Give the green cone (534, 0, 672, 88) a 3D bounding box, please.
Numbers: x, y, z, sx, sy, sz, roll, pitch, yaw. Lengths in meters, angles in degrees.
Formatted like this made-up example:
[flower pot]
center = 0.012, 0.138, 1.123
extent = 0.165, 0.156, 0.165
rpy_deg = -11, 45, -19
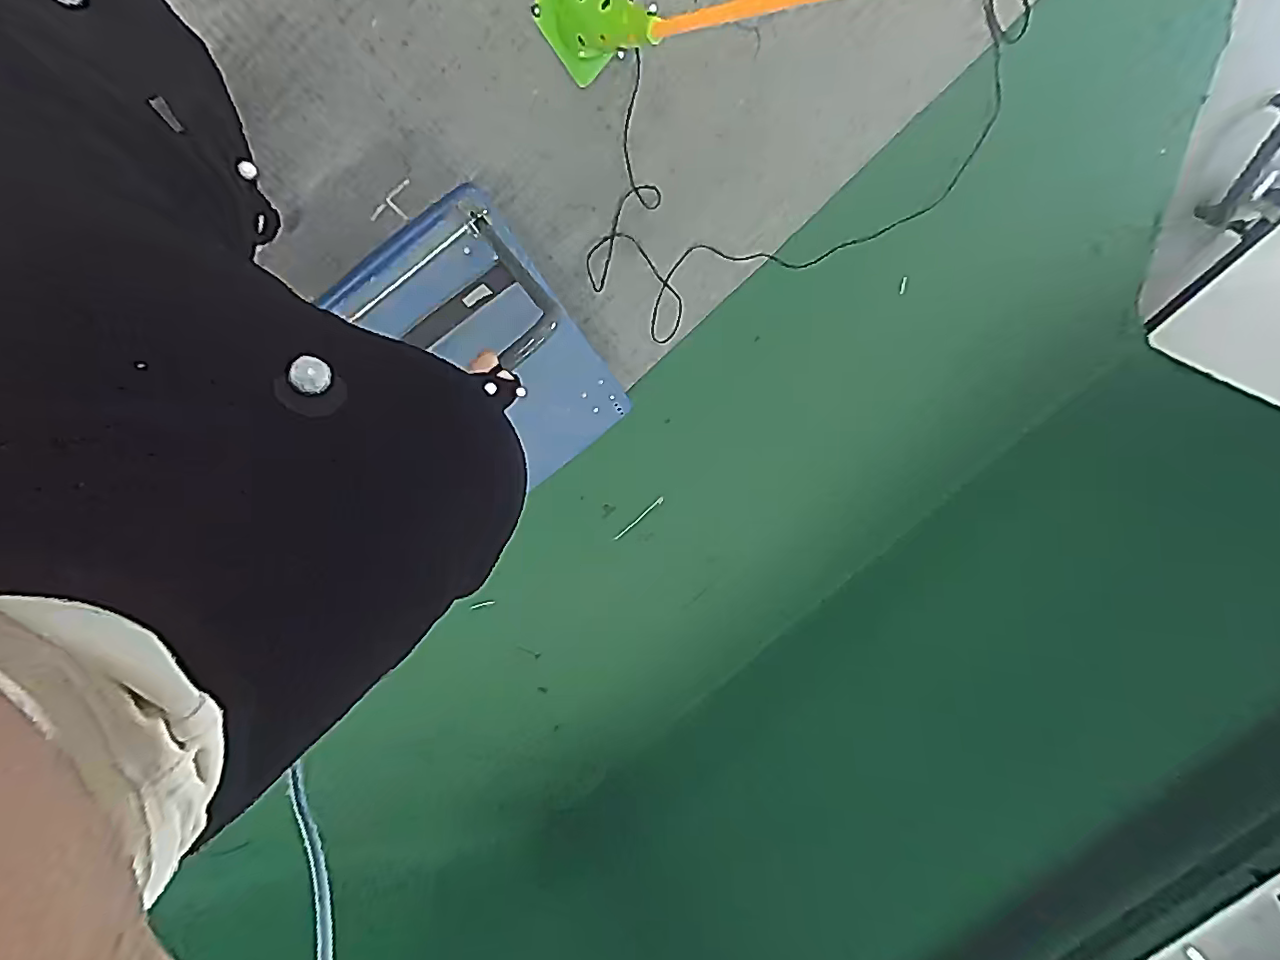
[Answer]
[green cone]
center = -0.042, -0.965, 1.146
extent = 0.202, 0.368, 0.200
rpy_deg = -46, 140, 10
